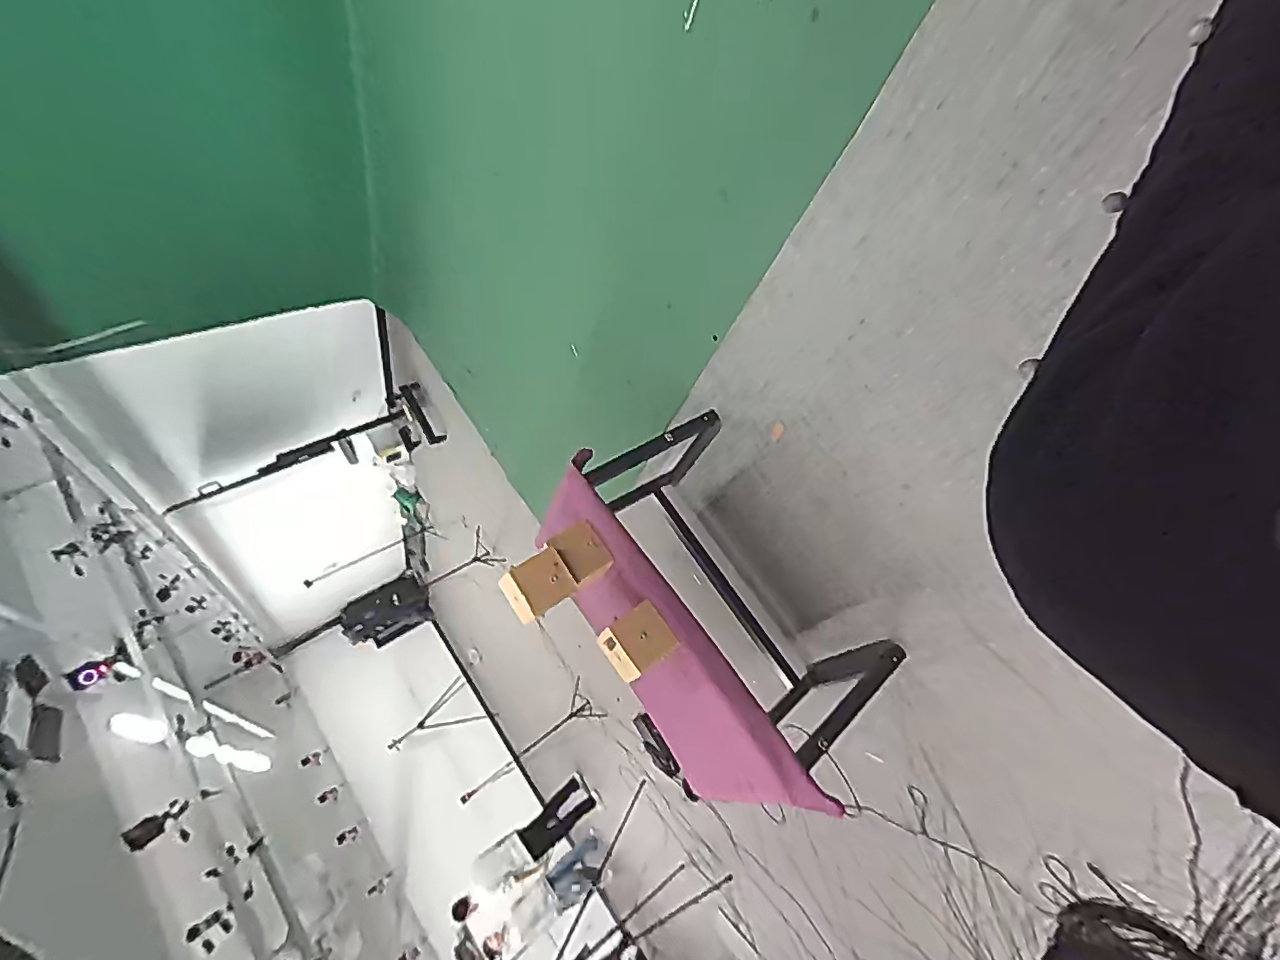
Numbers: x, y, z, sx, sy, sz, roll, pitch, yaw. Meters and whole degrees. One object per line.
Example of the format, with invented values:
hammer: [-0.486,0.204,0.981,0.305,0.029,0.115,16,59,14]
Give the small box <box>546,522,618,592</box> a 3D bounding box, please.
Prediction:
small box: [-0.203,0.263,1.835,0.179,0.176,0.168,54,149,14]

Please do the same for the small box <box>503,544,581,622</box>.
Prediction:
small box: [-0.313,0.330,1.731,0.168,0.176,0.179,57,148,7]
